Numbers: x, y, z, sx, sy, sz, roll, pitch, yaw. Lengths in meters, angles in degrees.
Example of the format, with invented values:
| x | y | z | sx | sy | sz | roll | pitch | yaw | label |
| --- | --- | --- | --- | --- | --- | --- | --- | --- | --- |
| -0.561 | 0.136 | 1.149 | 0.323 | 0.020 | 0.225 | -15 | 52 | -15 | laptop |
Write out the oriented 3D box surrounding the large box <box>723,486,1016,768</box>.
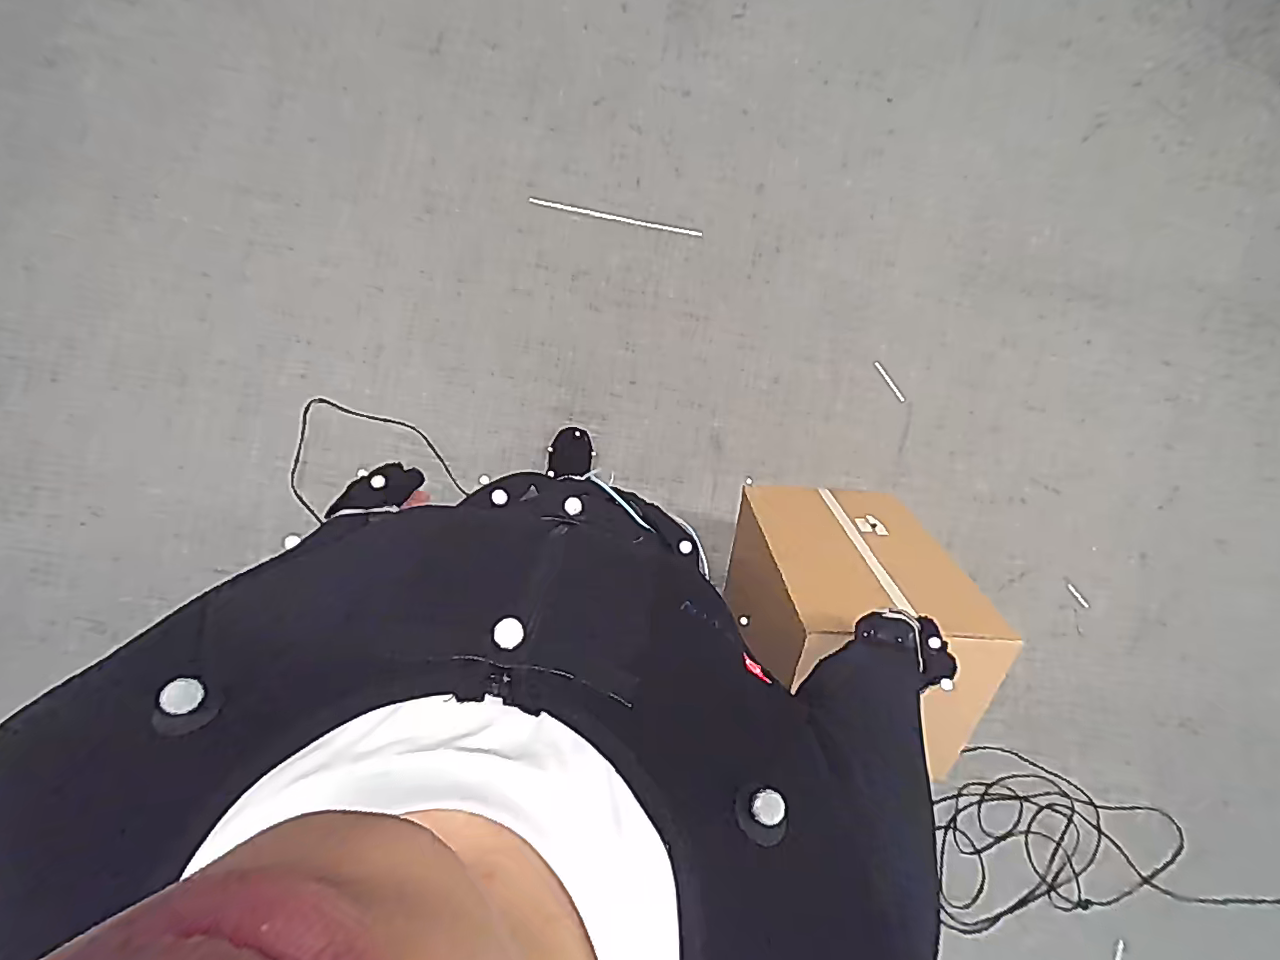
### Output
| x | y | z | sx | sy | sz | roll | pitch | yaw | label |
| --- | --- | --- | --- | --- | --- | --- | --- | --- | --- |
| 0.355 | 0.246 | 0.983 | 0.320 | 0.408 | 0.320 | 4 | 117 | -5 | large box |
